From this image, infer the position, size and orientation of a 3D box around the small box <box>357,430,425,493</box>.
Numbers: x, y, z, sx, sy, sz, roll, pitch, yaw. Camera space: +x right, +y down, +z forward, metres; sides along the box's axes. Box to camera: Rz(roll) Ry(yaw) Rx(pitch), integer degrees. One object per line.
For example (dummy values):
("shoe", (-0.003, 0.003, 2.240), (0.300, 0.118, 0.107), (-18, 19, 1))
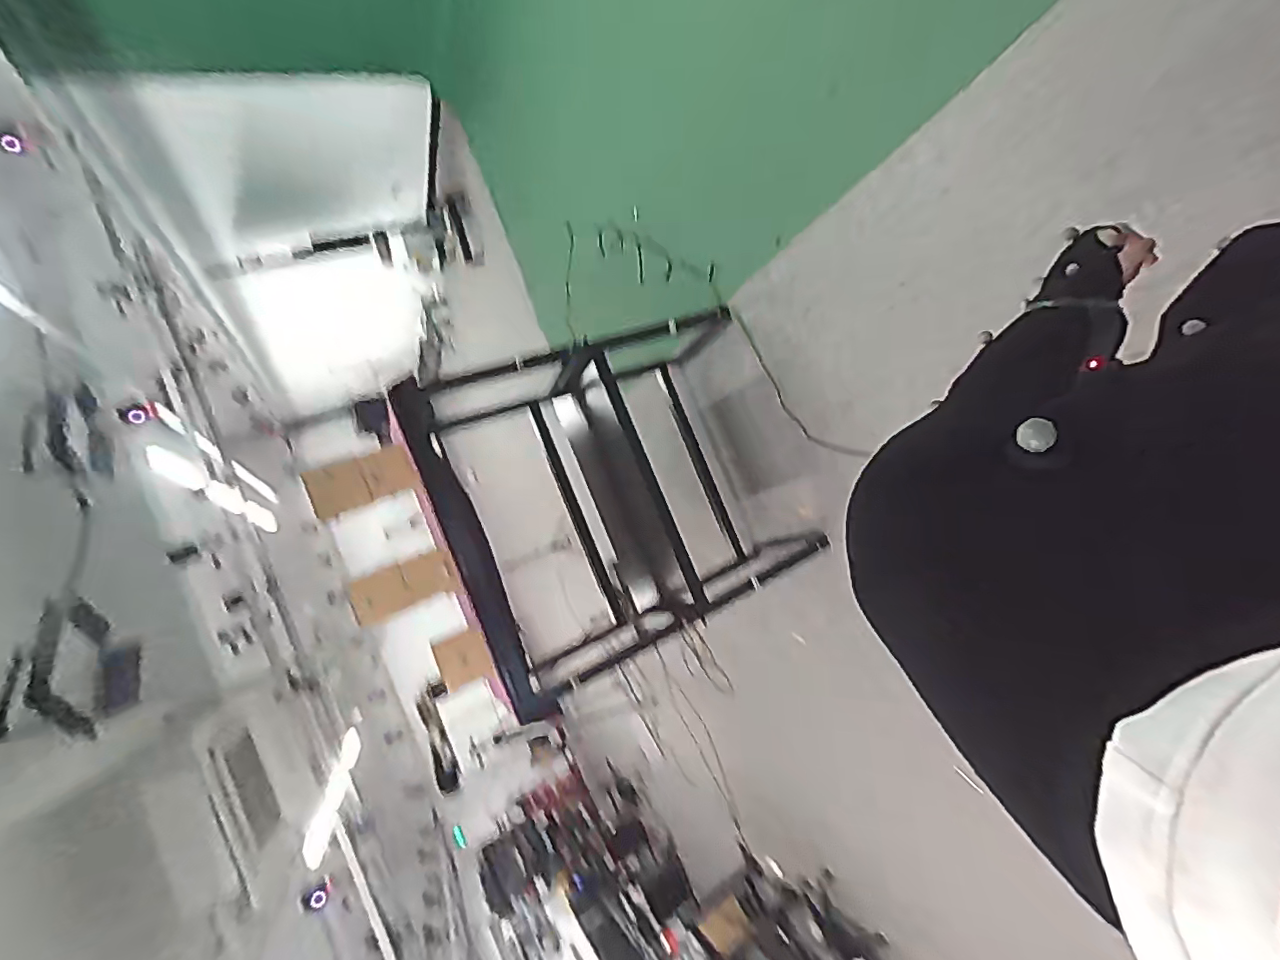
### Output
("small box", (-0.865, -0.063, 1.887), (0.179, 0.176, 0.168), (-17, 95, 65))

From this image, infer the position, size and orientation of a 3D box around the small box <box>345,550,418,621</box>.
("small box", (-0.852, 0.345, 1.800), (0.179, 0.176, 0.168), (67, 156, -1))

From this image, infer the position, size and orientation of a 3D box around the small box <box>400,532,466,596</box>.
("small box", (-0.716, 0.287, 1.872), (0.179, 0.176, 0.168), (-19, 93, 65))

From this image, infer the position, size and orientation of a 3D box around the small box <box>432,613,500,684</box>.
("small box", (-0.603, 0.573, 1.867), (0.179, 0.176, 0.168), (67, 156, 1))
